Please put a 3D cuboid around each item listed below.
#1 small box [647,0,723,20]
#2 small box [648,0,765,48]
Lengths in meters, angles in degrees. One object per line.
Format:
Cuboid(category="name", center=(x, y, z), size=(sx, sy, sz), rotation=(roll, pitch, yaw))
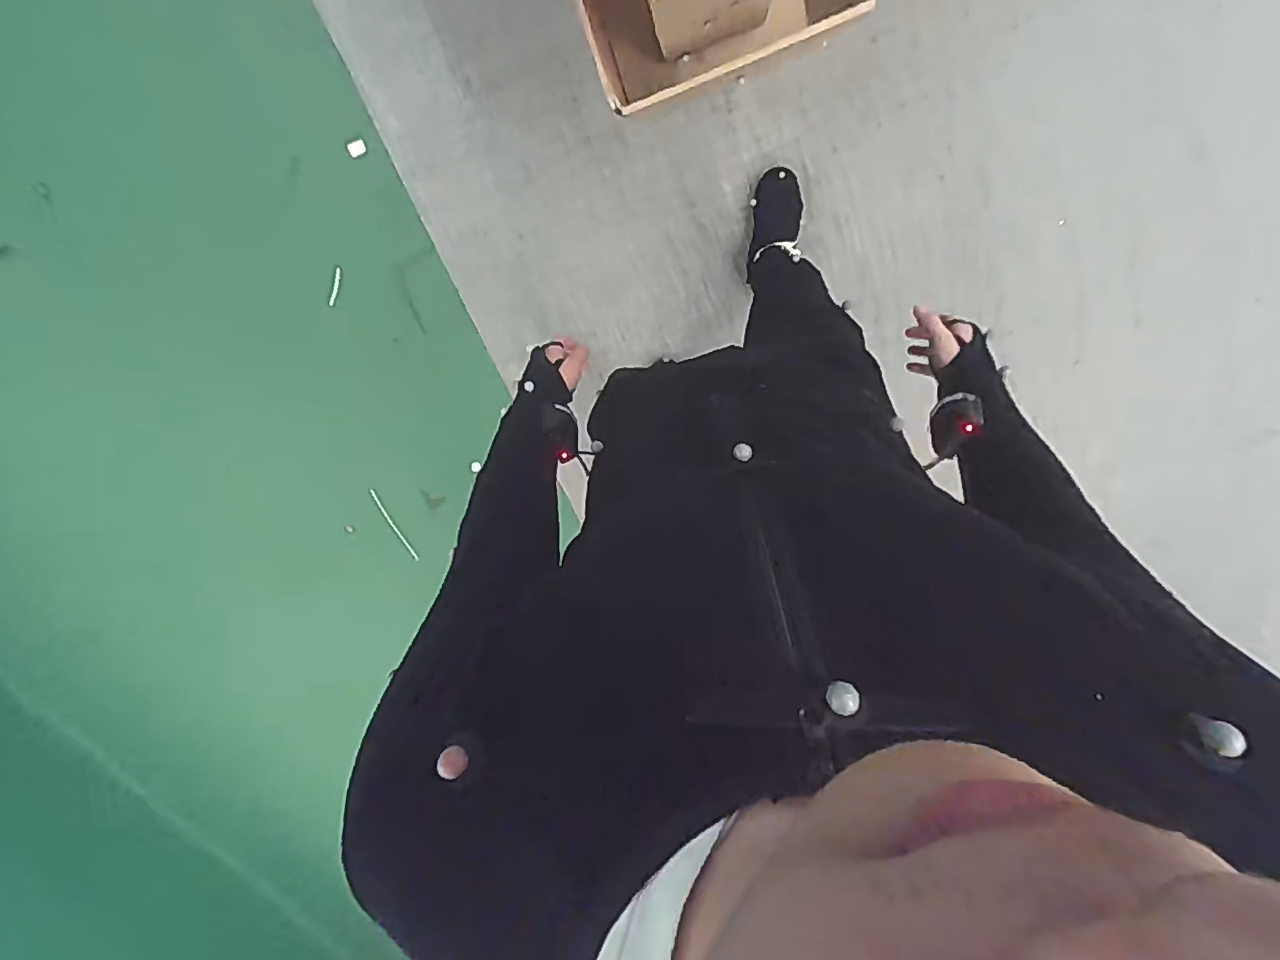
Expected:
Cuboid(category="small box", center=(0.069, -0.667, 0.615), size=(0.168, 0.176, 0.179), rotation=(-12, 115, 13))
Cuboid(category="small box", center=(0.083, -0.745, 0.757), size=(0.168, 0.176, 0.179), rotation=(-14, 114, 14))
